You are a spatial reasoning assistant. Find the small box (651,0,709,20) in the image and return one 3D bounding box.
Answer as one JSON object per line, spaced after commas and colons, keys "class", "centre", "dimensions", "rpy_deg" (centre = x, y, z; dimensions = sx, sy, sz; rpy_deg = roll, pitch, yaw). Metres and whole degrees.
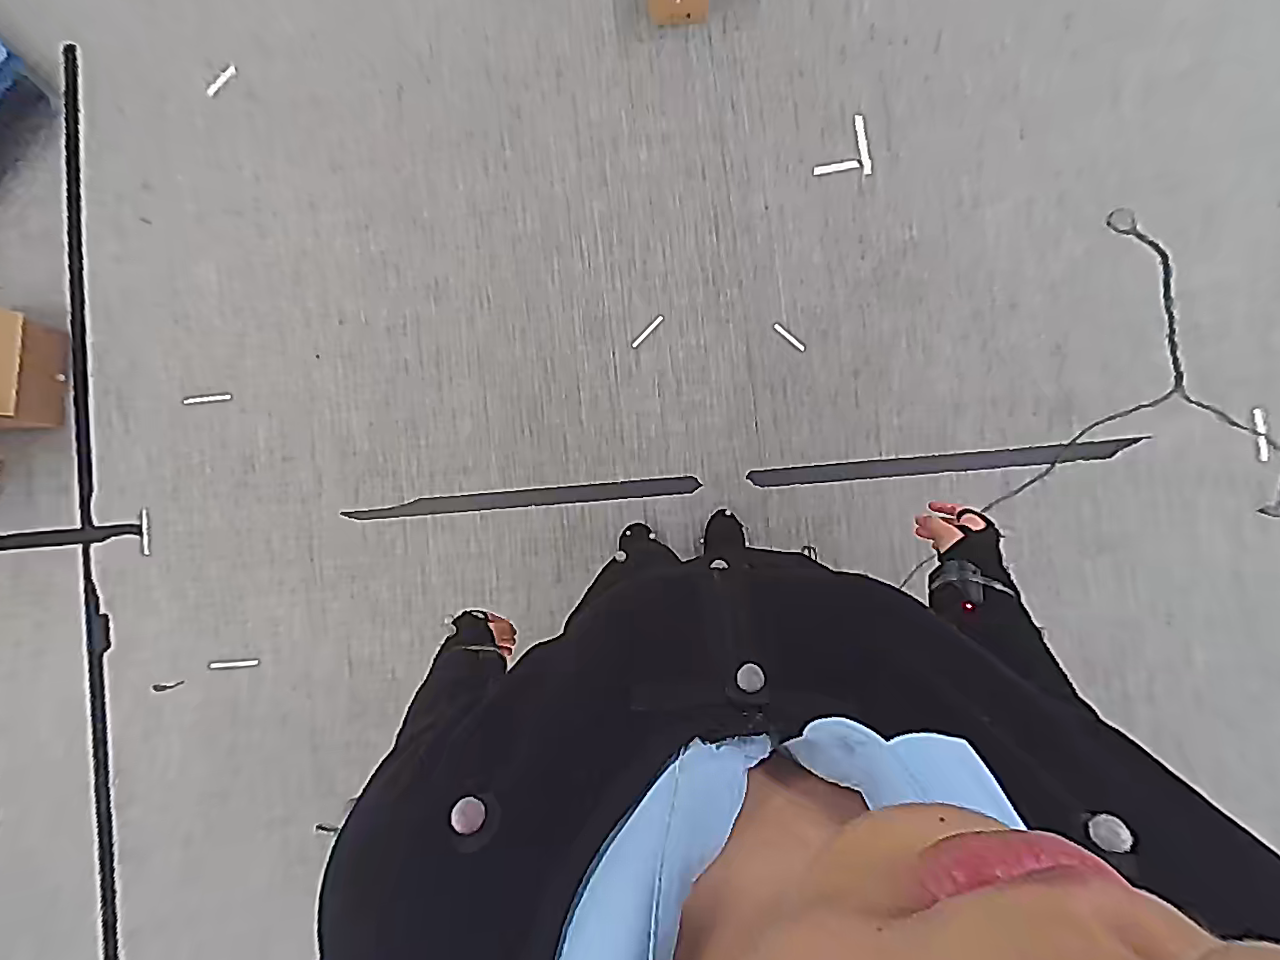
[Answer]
{"class": "small box", "centre": [0.111, -1.428, 1.504], "dimensions": [0.168, 0.176, 0.179], "rpy_deg": [-2, 87, 4]}
